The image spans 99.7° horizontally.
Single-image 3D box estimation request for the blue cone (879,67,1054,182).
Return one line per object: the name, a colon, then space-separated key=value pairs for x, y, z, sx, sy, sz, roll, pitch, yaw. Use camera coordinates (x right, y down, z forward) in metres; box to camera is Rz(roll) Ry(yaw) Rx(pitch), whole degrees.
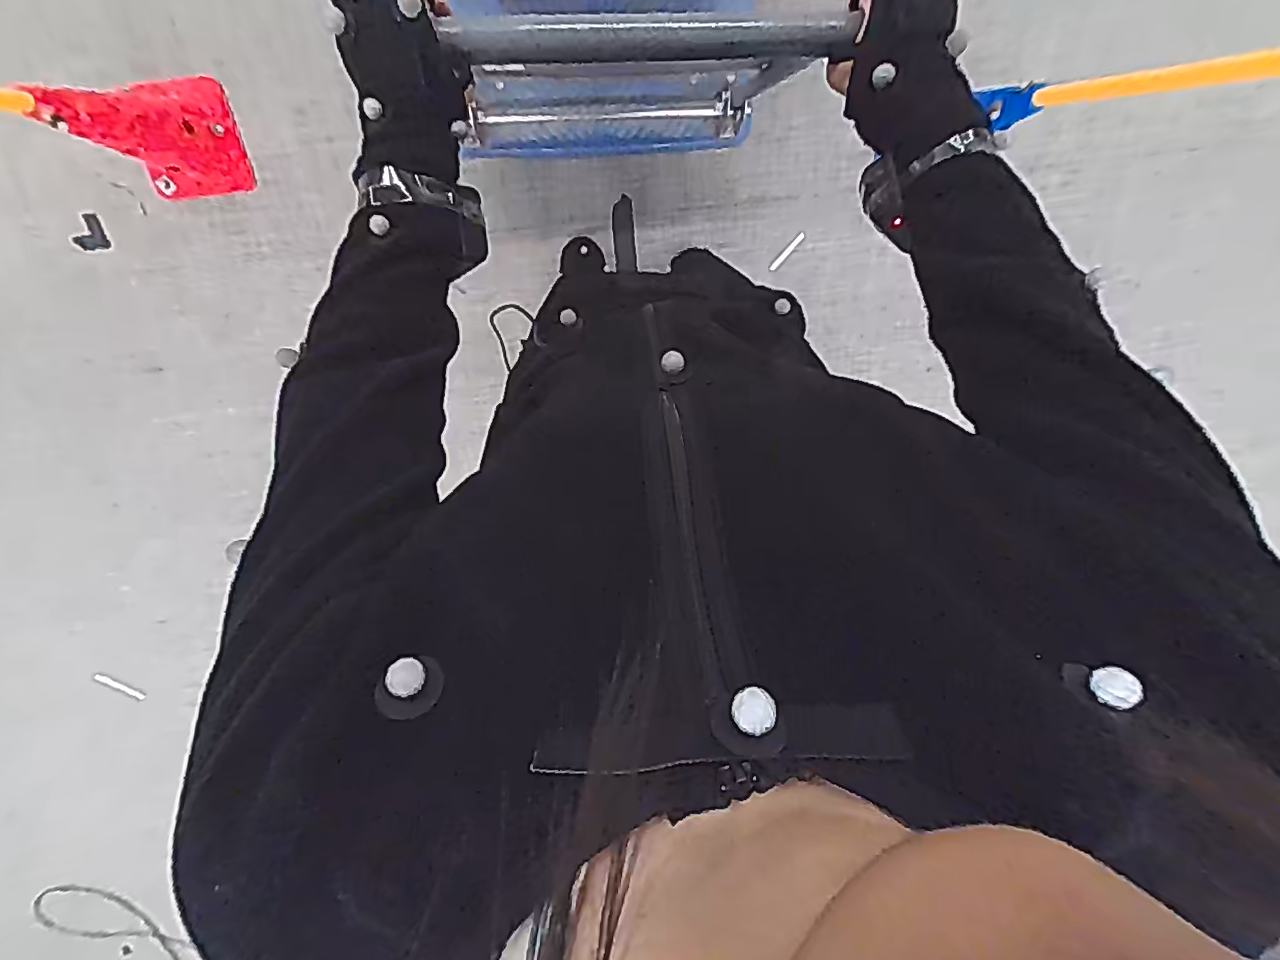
blue cone: x=0.646 y=-0.719 z=1.060 sx=0.193 sy=0.380 sz=0.192 roll=-11 pitch=114 yaw=-2
